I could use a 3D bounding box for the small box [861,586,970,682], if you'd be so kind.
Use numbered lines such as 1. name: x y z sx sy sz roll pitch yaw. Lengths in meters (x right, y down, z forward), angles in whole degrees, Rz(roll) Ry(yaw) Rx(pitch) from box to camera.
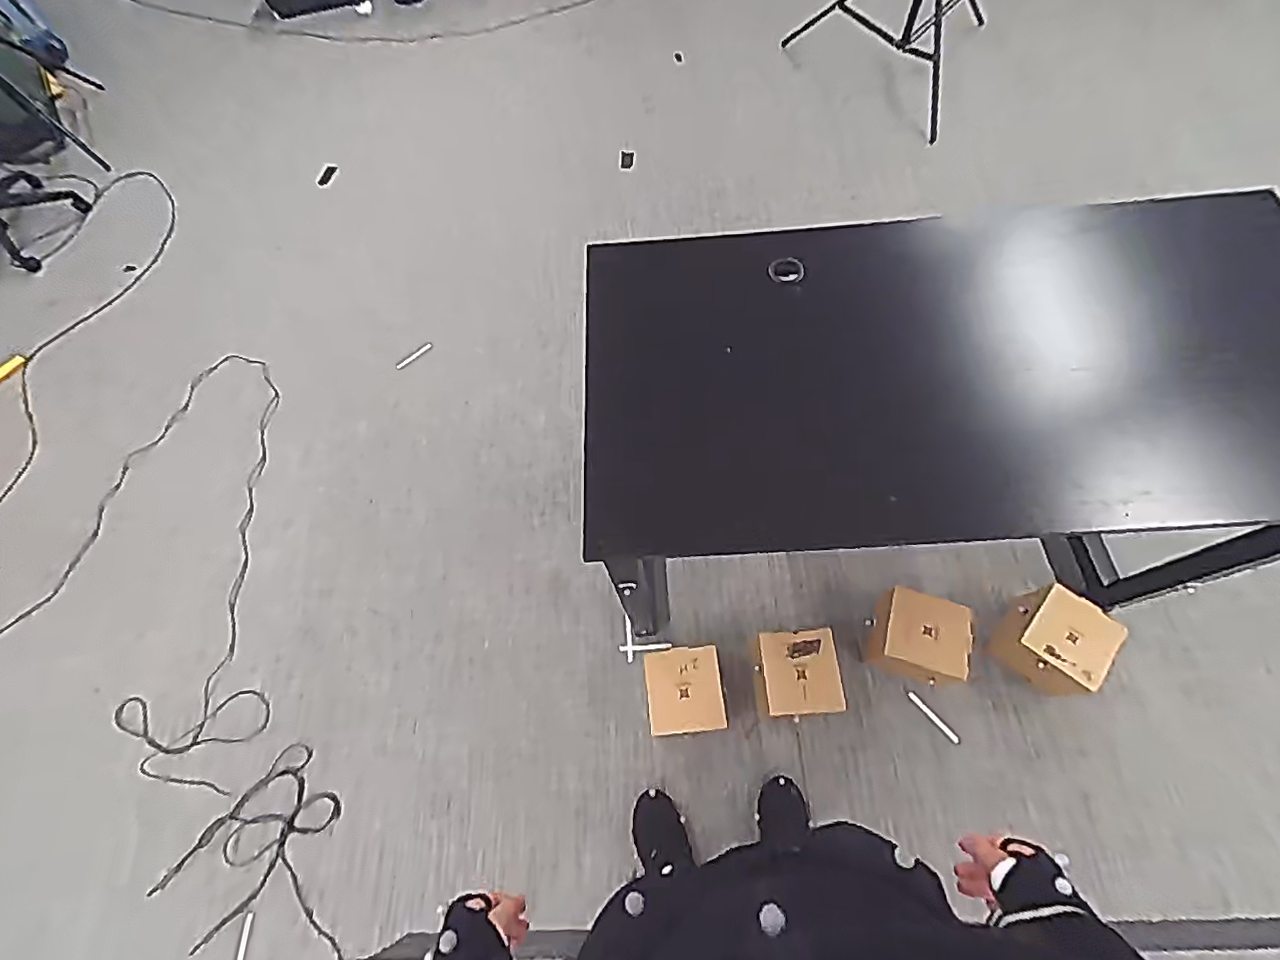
1. small box: 0.649 0.371 1.283 0.179 0.176 0.168 15 66 12

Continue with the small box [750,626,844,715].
1. small box: 0.358 0.450 1.268 0.168 0.176 0.179 -5 66 3

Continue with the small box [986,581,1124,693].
1. small box: 0.951 0.370 1.257 0.168 0.176 0.179 37 73 19
